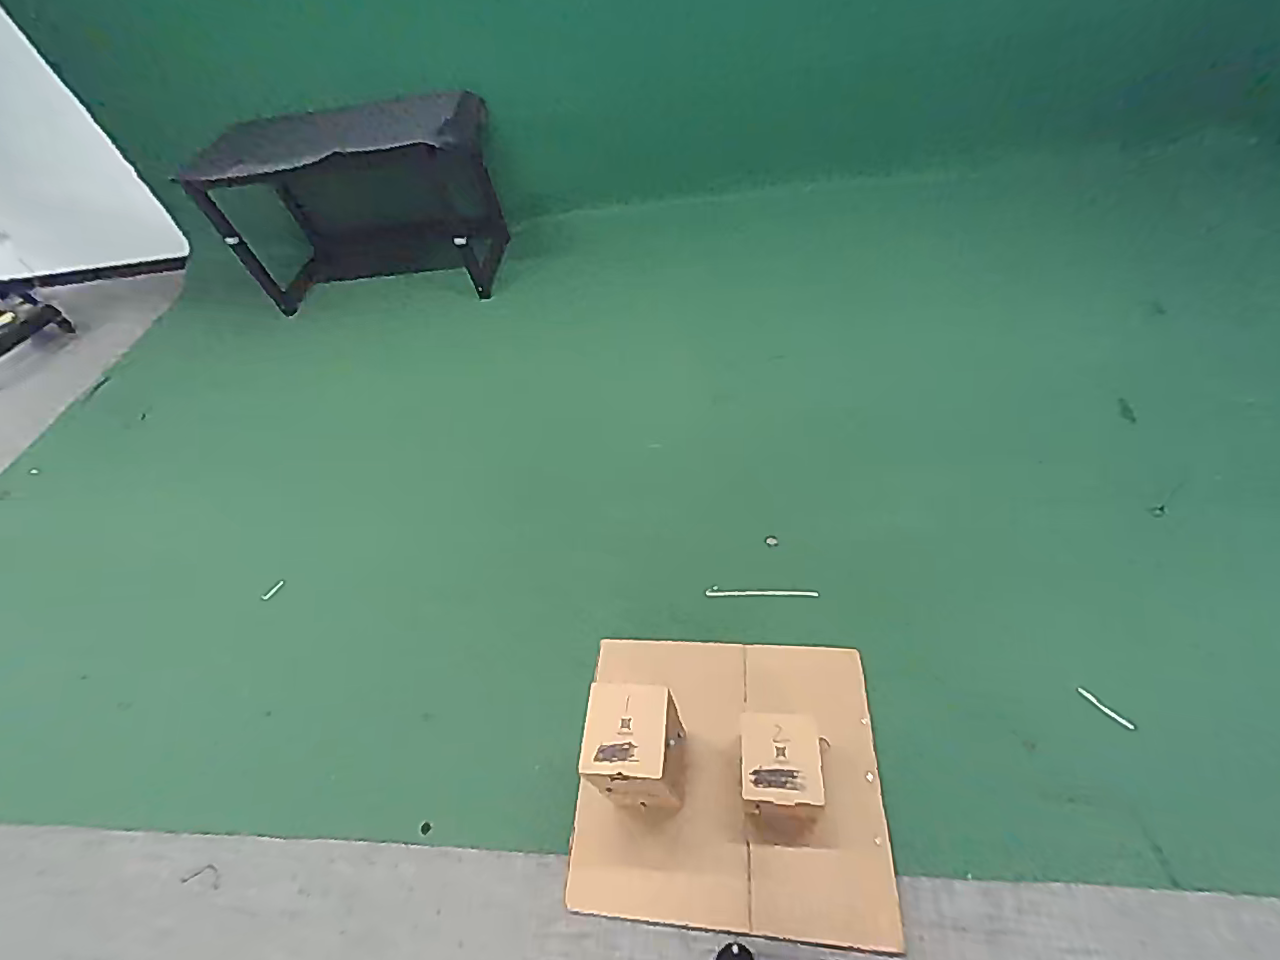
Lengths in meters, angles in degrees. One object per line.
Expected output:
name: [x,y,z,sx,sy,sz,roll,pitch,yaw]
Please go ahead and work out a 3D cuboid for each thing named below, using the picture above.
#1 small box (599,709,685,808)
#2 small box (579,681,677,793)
small box: [0.012,0.641,1.251,0.168,0.176,0.179,-3,51,11]
small box: [-0.015,0.538,1.127,0.168,0.176,0.179,-1,50,11]
